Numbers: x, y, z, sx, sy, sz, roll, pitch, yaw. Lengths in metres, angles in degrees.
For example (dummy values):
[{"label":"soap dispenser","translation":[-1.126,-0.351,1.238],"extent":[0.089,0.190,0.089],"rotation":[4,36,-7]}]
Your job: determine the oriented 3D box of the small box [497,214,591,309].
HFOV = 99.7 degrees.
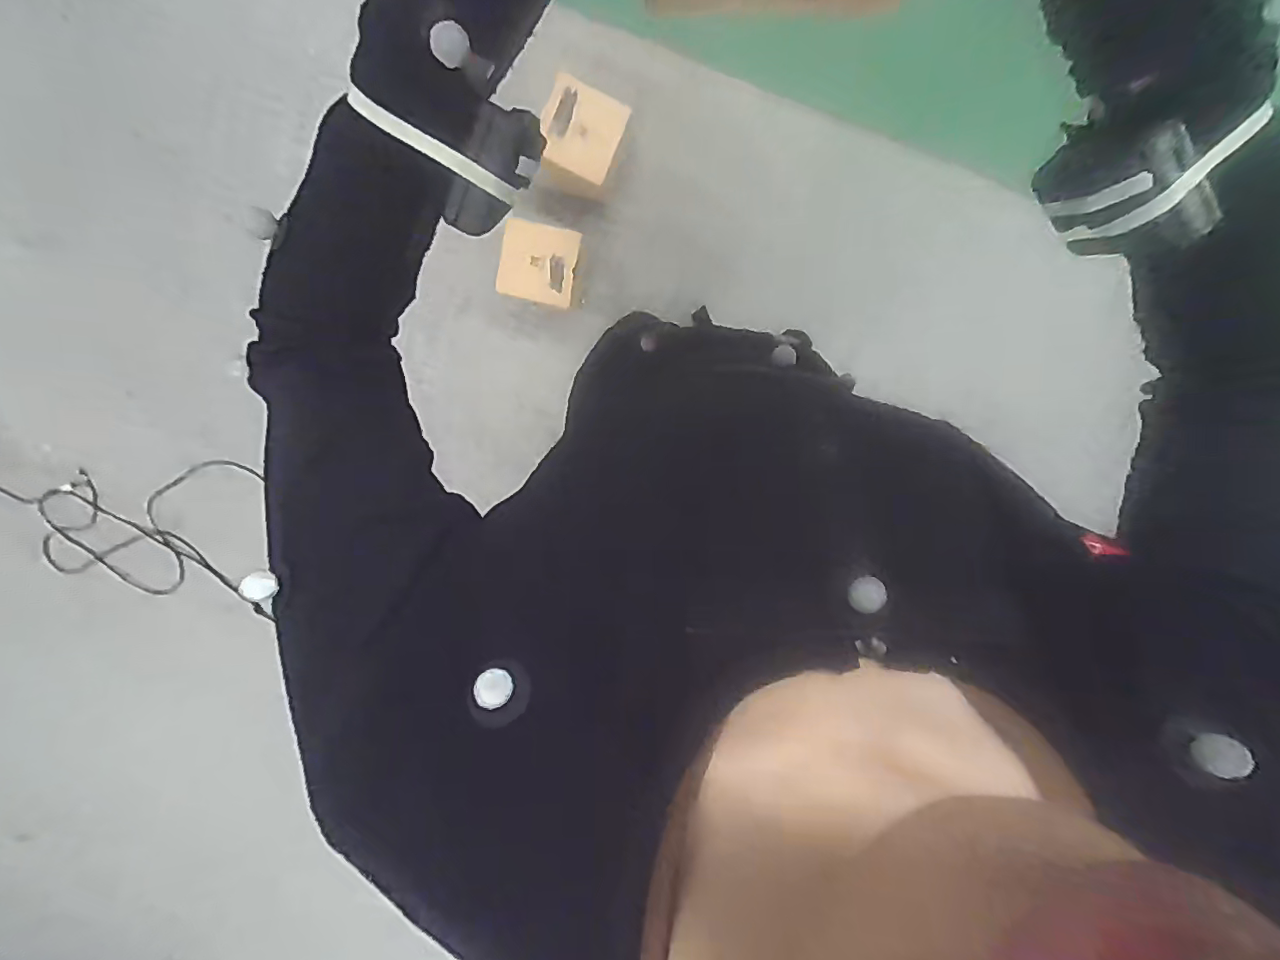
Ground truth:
[{"label":"small box","translation":[-0.221,-0.509,1.287],"extent":[0.179,0.176,0.168],"rotation":[13,103,0]}]
